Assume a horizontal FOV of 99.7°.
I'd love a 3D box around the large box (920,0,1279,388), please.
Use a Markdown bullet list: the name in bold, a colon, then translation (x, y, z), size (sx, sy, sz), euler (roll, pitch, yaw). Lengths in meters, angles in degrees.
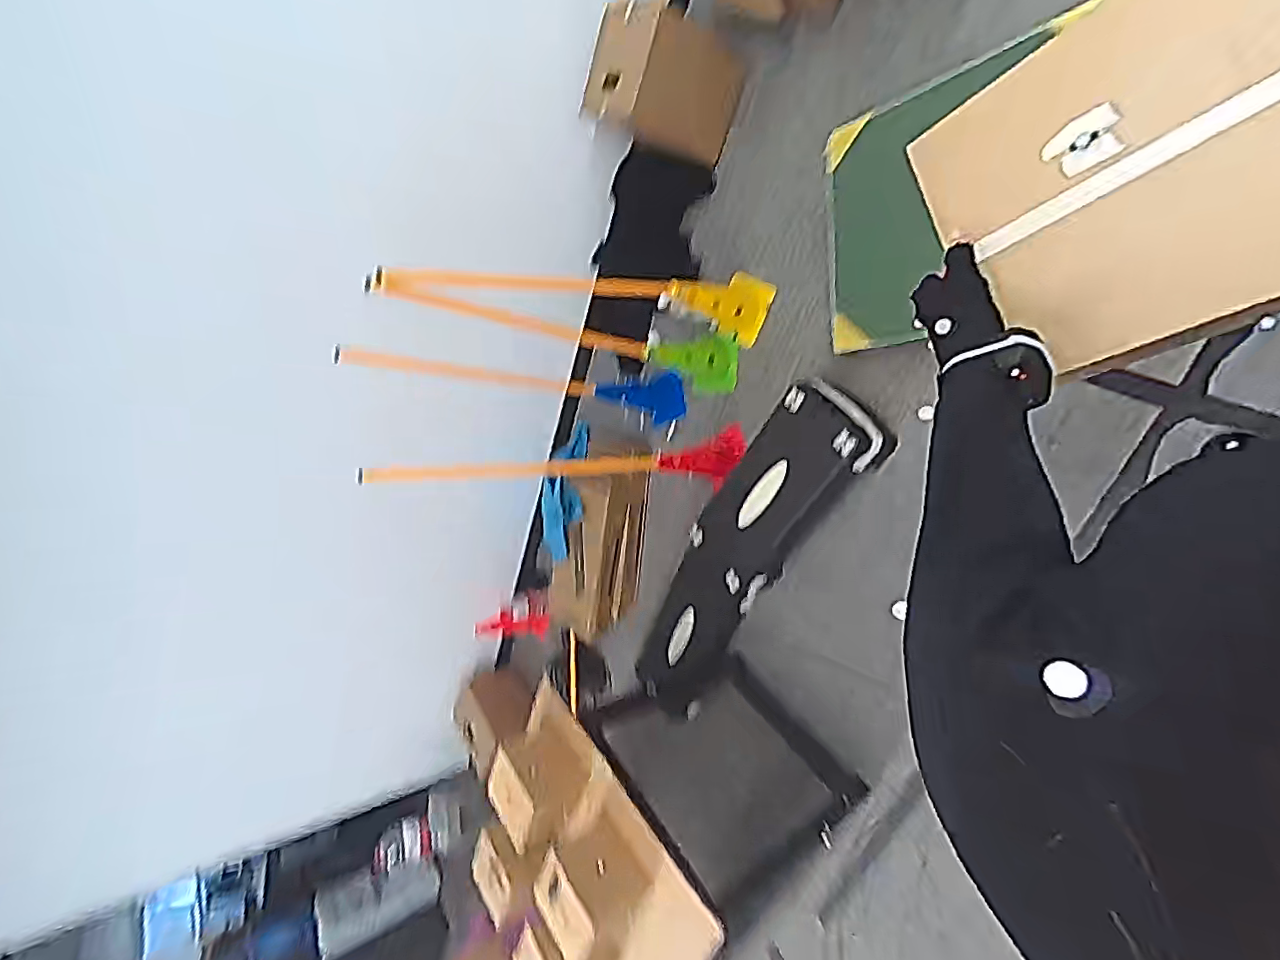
- **large box**: translation (0.600, -0.322, 0.571), size (0.408, 0.320, 0.320), euler (-23, 80, 47)
